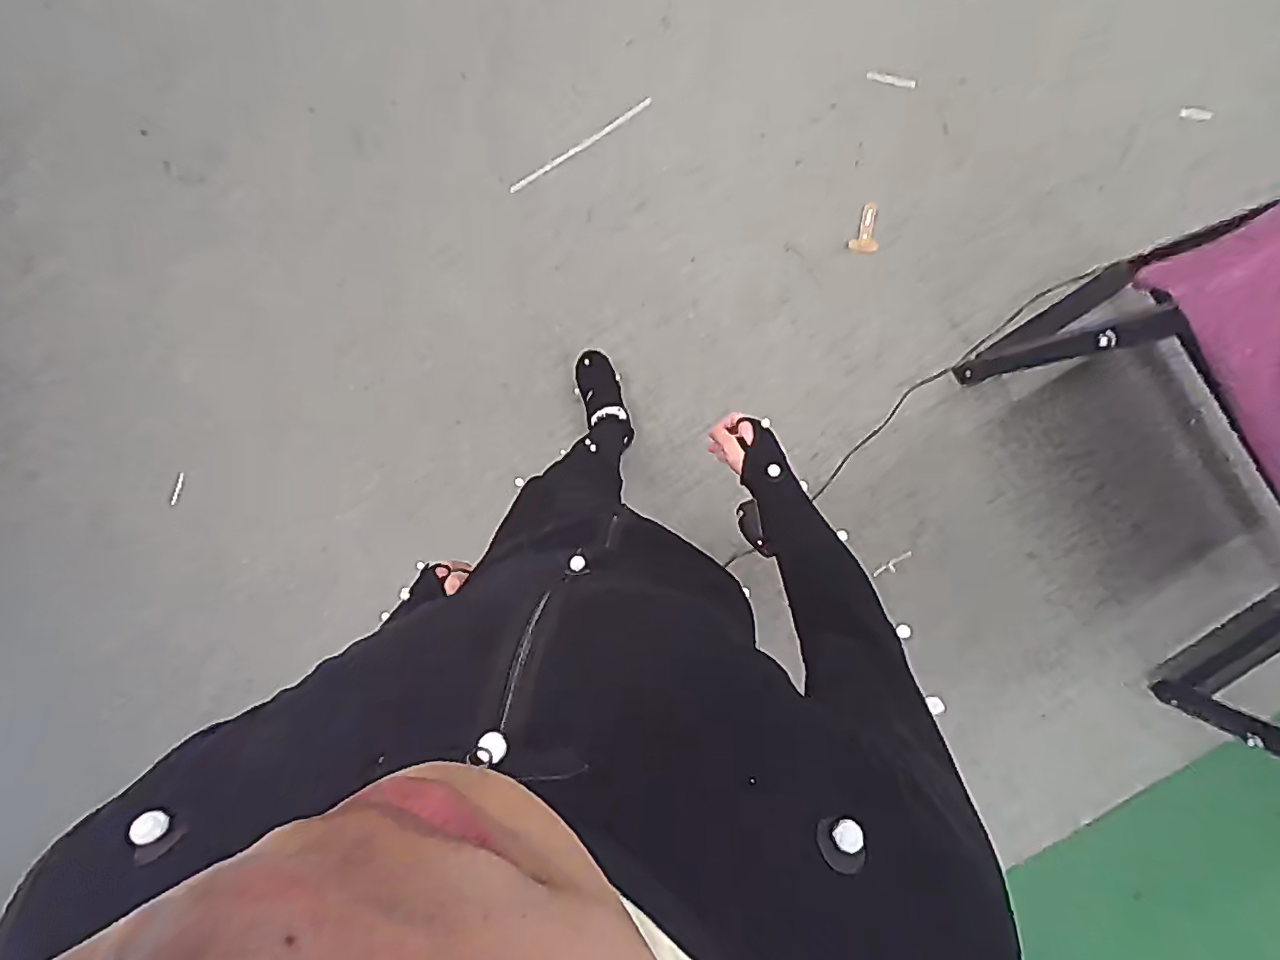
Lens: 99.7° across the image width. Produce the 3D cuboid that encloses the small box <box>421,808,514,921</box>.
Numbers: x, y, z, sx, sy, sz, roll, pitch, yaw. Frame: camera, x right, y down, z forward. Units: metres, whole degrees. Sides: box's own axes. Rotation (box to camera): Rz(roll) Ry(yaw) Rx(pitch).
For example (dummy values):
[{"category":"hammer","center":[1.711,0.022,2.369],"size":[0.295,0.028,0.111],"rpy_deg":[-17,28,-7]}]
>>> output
[{"category":"small box","center":[-0.495,1.115,1.582],"size":[0.179,0.176,0.168],"rpy_deg":[-33,92,1]}]

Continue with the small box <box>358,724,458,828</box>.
[{"category":"small box","center":[-0.666,0.852,1.570],"size":[0.179,0.176,0.168],"rpy_deg":[-30,92,2]}]
